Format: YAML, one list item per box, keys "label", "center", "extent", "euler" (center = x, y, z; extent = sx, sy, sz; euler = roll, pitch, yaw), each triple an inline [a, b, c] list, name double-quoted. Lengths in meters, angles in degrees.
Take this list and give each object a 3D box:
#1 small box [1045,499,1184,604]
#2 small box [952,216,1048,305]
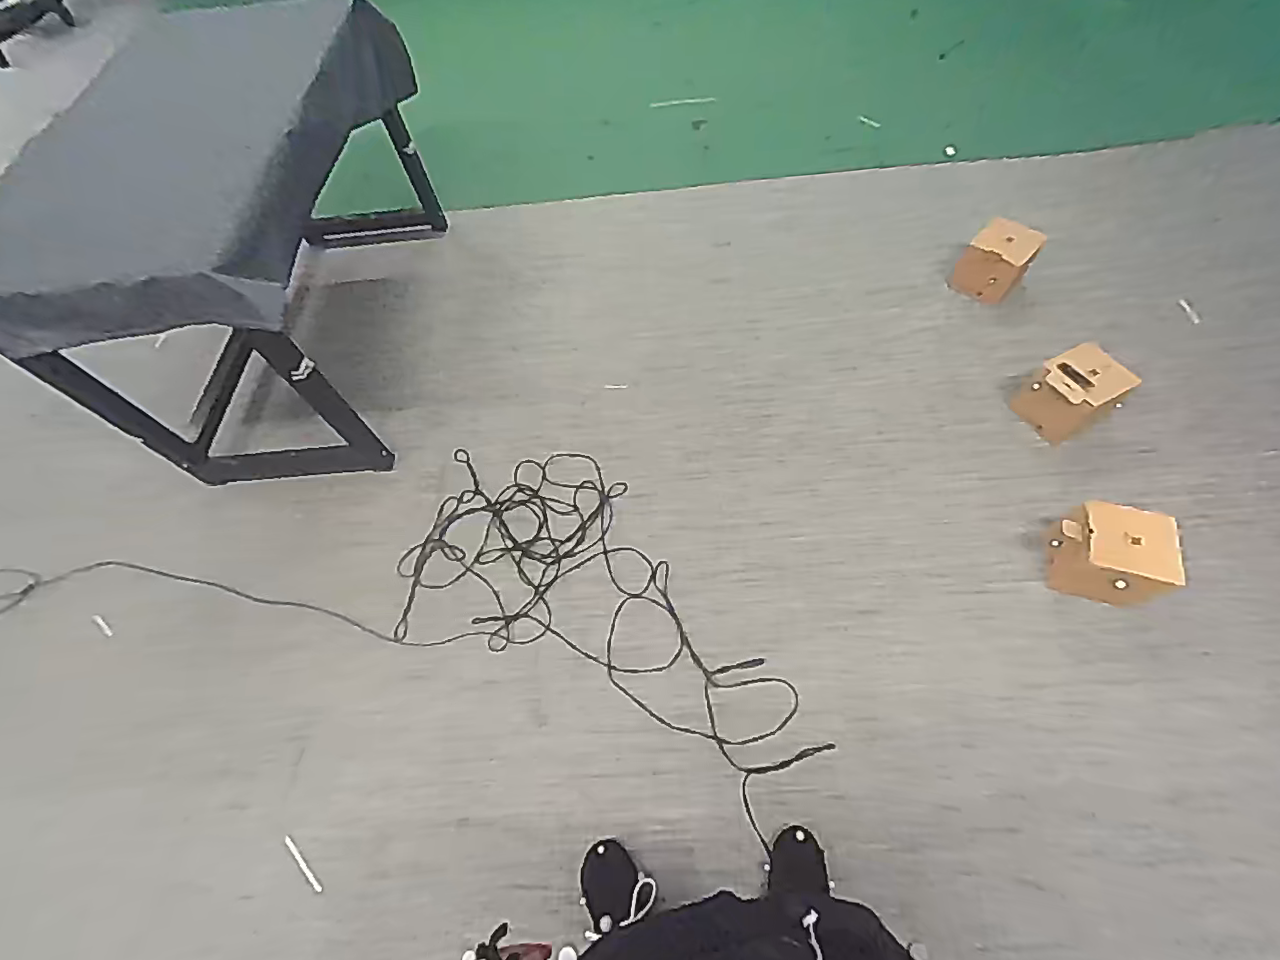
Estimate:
- label: "small box"
  center: [1.068, 0.168, 1.232]
  extent: [0.179, 0.176, 0.168]
  euler: [14, 63, 13]
- label: "small box"
  center: [1.131, -0.692, 1.716]
  extent: [0.168, 0.176, 0.179]
  euler: [40, 70, 22]
